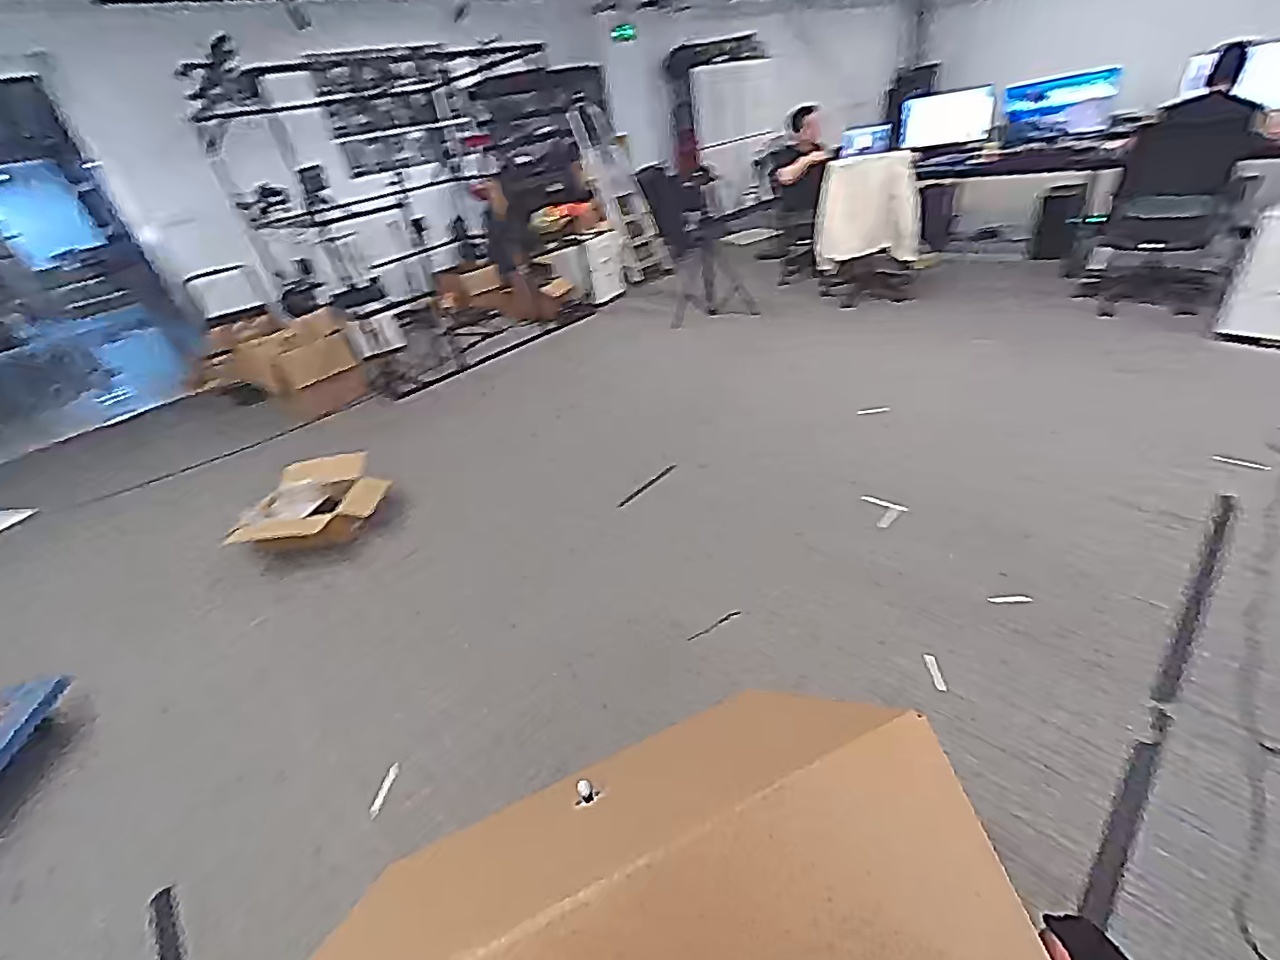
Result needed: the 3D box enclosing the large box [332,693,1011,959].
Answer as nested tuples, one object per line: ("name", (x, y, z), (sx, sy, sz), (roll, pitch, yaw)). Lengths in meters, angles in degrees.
("large box", (0.019, 0.400, 0.396), (0.408, 0.320, 0.320), (-21, 76, -14))
